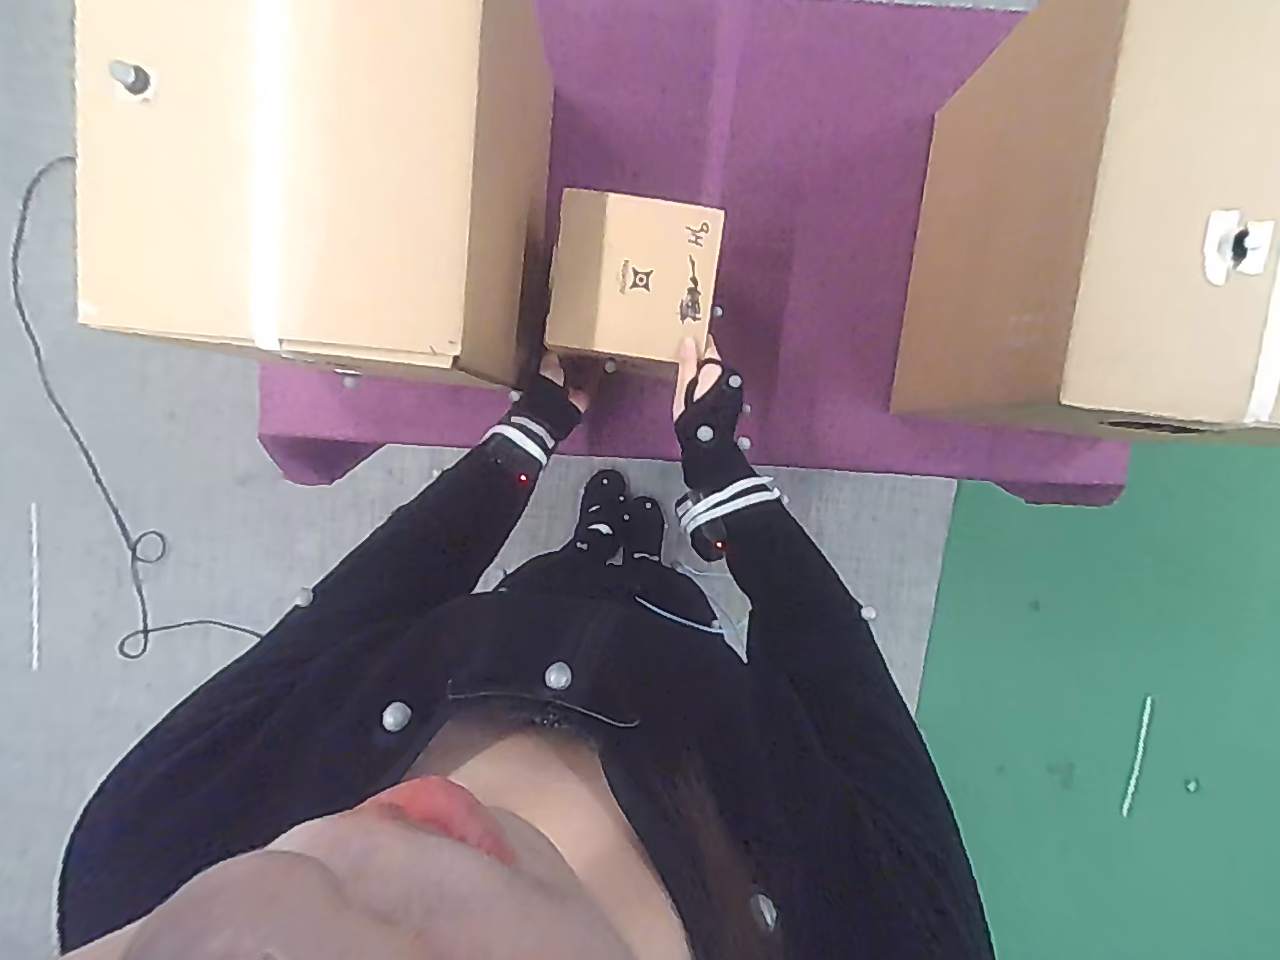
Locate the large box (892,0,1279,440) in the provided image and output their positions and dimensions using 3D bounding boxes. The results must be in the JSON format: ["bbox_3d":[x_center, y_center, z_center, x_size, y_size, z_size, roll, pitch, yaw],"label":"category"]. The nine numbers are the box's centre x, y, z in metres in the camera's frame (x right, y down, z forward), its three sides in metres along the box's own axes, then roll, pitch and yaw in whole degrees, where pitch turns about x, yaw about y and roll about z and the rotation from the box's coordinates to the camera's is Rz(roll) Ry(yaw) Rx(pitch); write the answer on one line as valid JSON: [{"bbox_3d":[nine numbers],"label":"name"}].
[{"bbox_3d":[0.521,-0.262,0.592,0.320,0.320,0.408,7,96,-1],"label":"large box"}]
